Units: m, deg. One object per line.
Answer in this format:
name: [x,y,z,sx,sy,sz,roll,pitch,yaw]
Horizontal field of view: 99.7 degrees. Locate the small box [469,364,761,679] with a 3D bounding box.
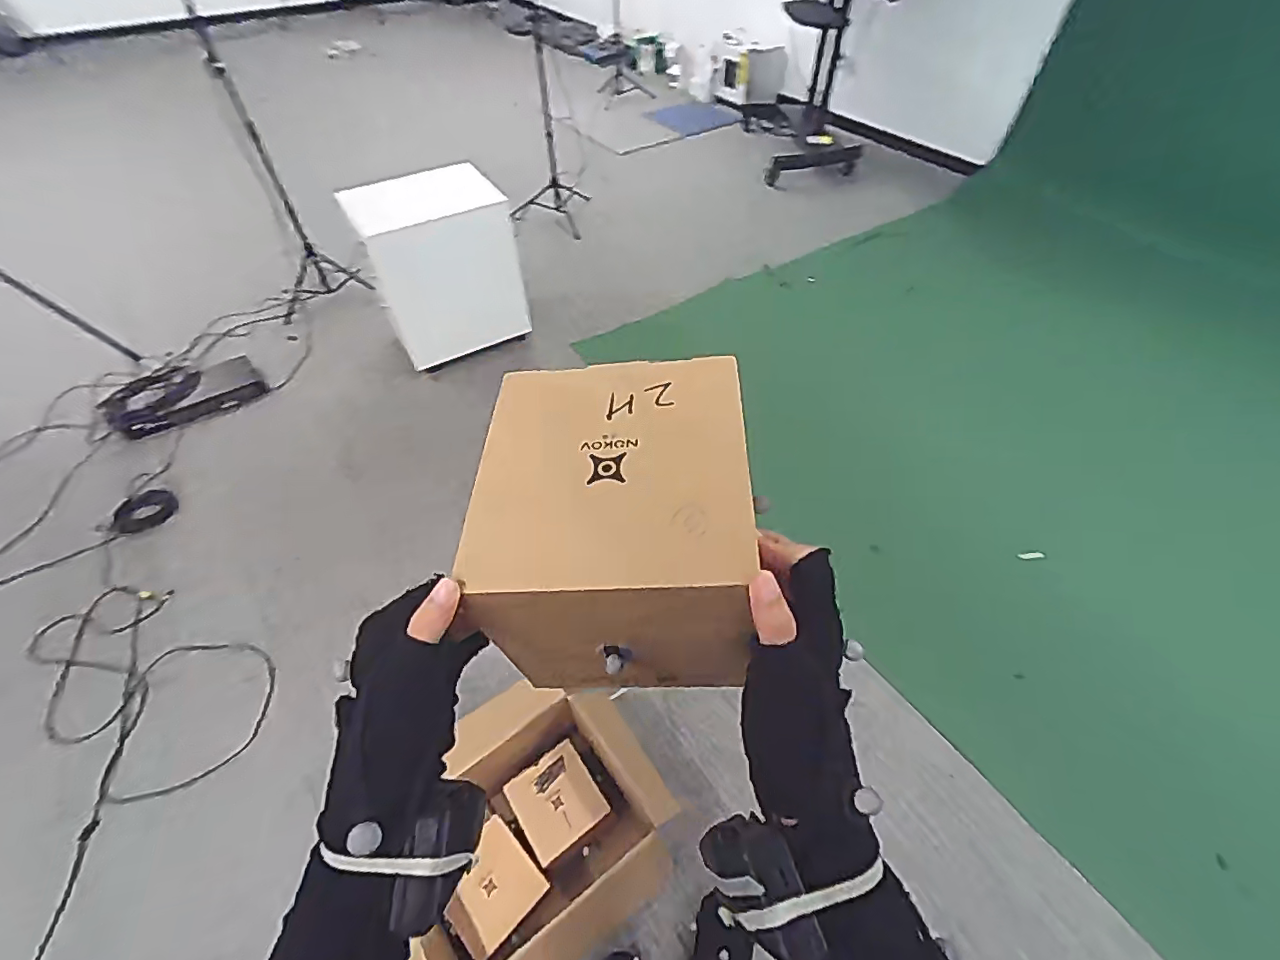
small box: [-0.002,0.039,0.402,0.168,0.176,0.179,-2,53,6]
